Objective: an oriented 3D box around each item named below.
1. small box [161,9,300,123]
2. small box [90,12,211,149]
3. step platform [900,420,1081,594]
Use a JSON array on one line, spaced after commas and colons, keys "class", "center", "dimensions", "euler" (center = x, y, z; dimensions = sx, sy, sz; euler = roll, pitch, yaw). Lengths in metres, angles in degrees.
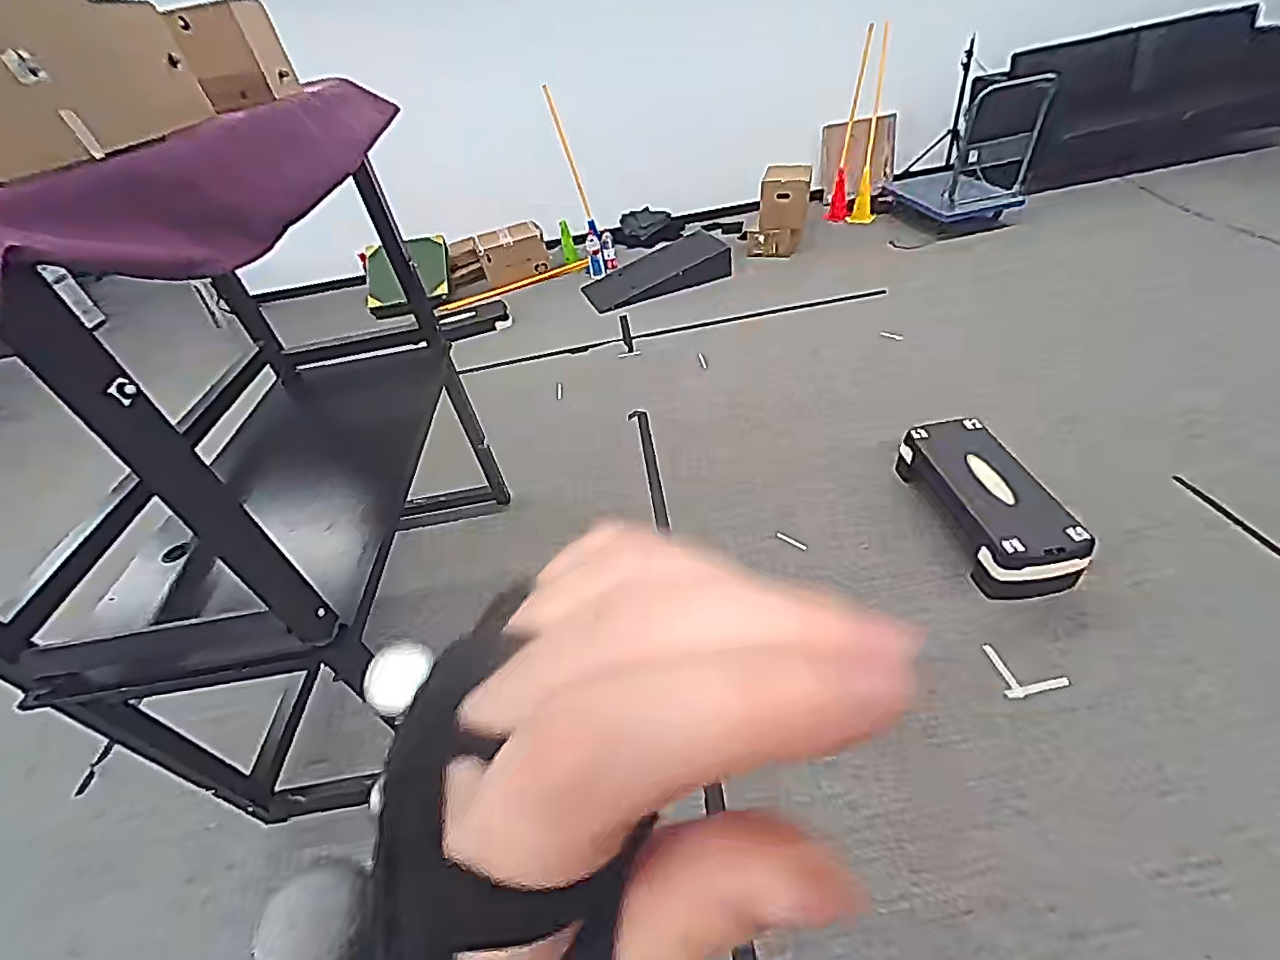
[{"class": "small box", "center": [-0.873, -0.885, 1.161], "dimensions": [0.168, 0.176, 0.179], "euler": [-12, 41, 0]}, {"class": "small box", "center": [-0.863, -0.643, 0.887], "dimensions": [0.168, 0.176, 0.179], "euler": [-10, 41, 2]}, {"class": "step platform", "center": [1.161, 0.057, 1.861], "dimensions": [0.286, 0.204, 0.684], "euler": [-7, 40, 5]}]
